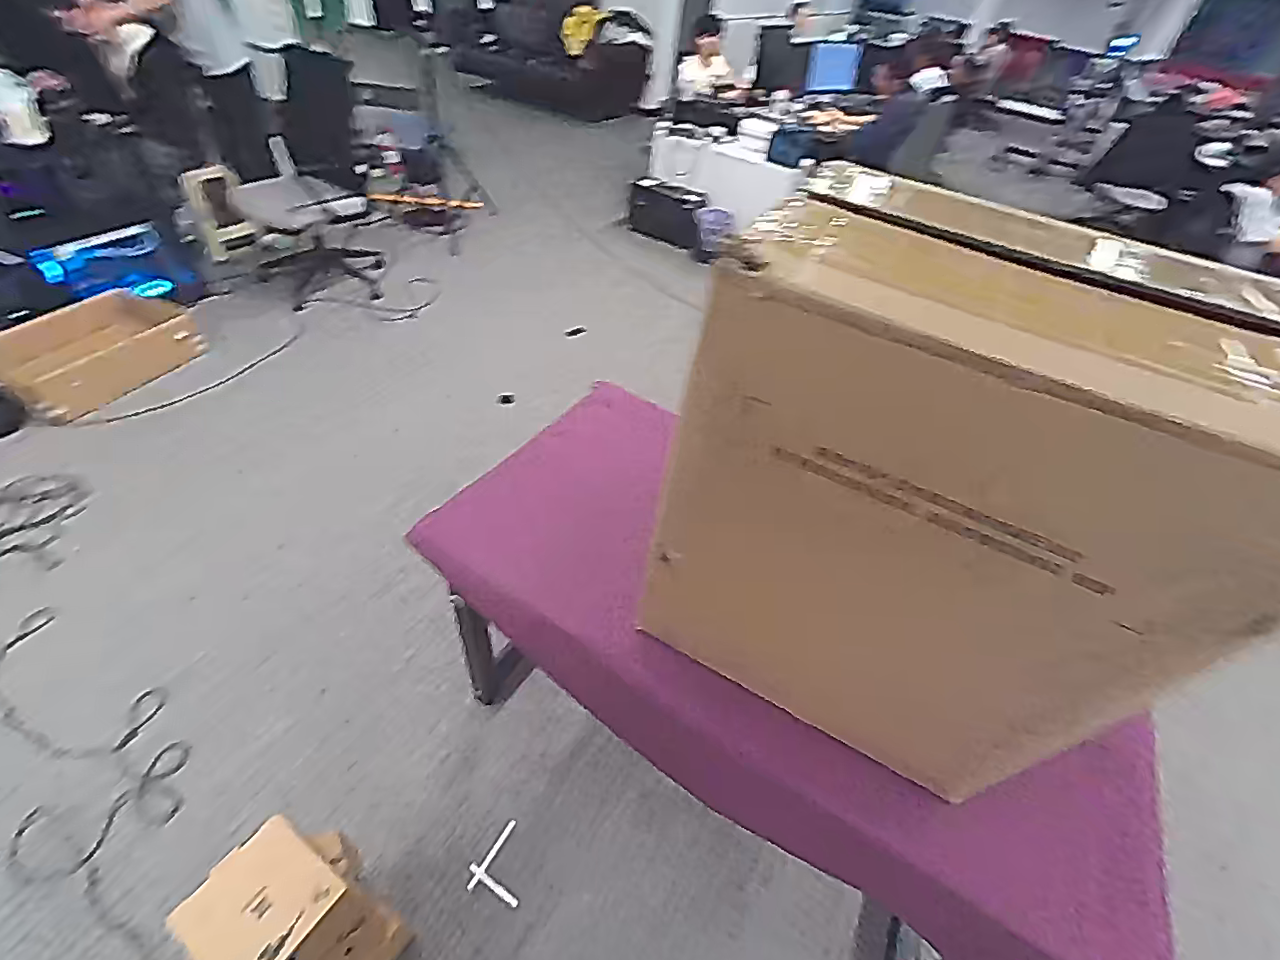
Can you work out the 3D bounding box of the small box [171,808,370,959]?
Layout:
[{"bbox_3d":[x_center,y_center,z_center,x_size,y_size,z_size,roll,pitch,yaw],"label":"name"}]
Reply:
[{"bbox_3d":[-0.556,0.660,0.837,0.179,0.176,0.168,29,48,19],"label":"small box"}]

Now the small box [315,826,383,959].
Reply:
[{"bbox_3d":[-0.579,0.766,0.960,0.168,0.176,0.179,-24,53,-30],"label":"small box"}]

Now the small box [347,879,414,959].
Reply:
[{"bbox_3d":[-0.576,0.897,1.059,0.179,0.176,0.168,29,48,19],"label":"small box"}]
